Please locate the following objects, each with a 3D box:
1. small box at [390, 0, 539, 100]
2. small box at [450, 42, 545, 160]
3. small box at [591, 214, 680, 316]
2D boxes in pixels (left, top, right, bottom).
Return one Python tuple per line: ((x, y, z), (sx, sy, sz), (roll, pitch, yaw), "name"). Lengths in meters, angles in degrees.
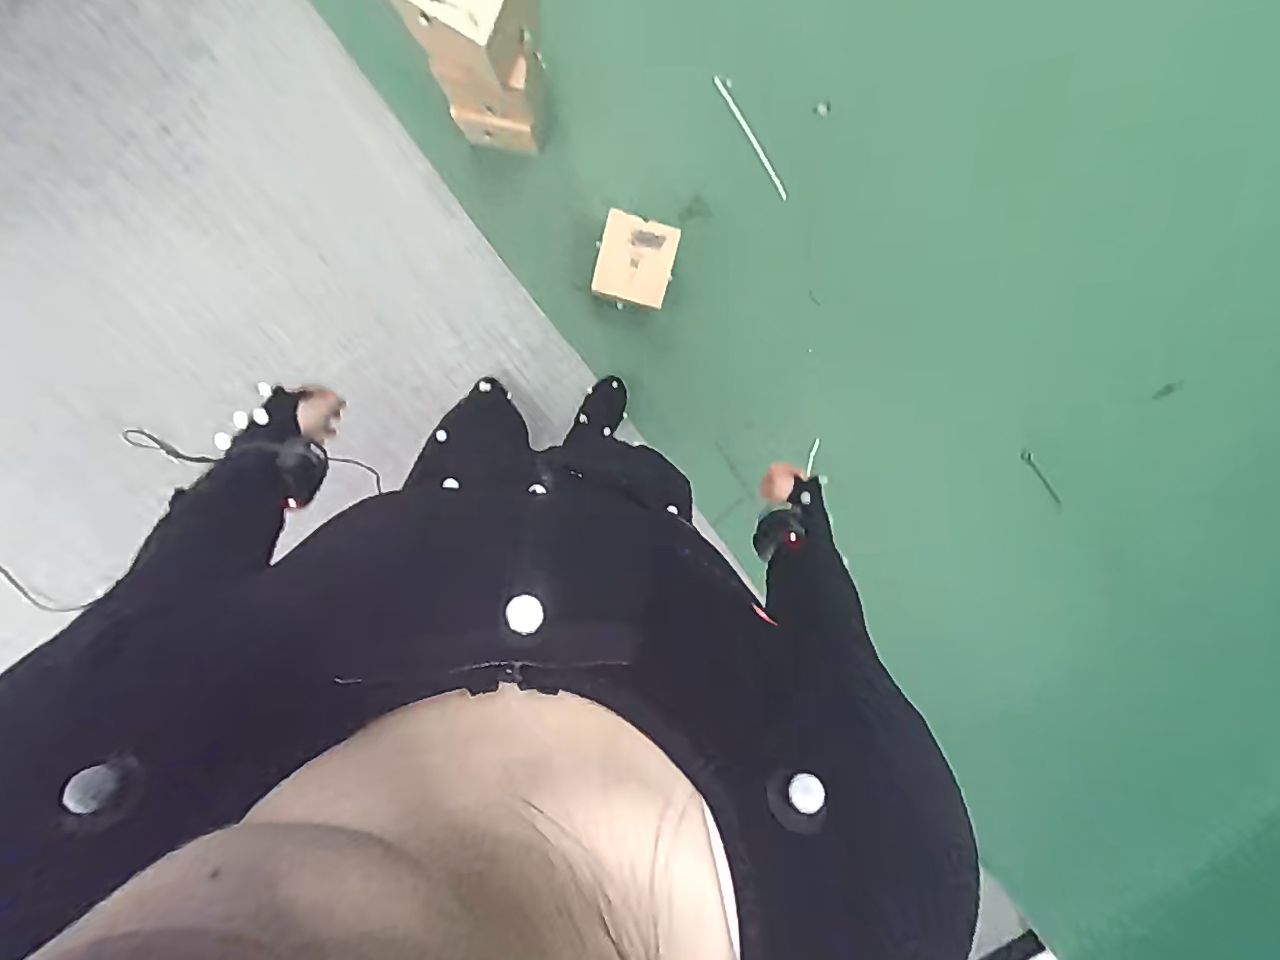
((-0.269, -0.759, 0.852), (0.168, 0.176, 0.179), (27, 101, -10), "small box")
((-0.302, -0.823, 1.174), (0.168, 0.176, 0.179), (8, 103, -6), "small box")
((-0.017, -0.496, 1.276), (0.168, 0.176, 0.179), (14, 104, -8), "small box")
